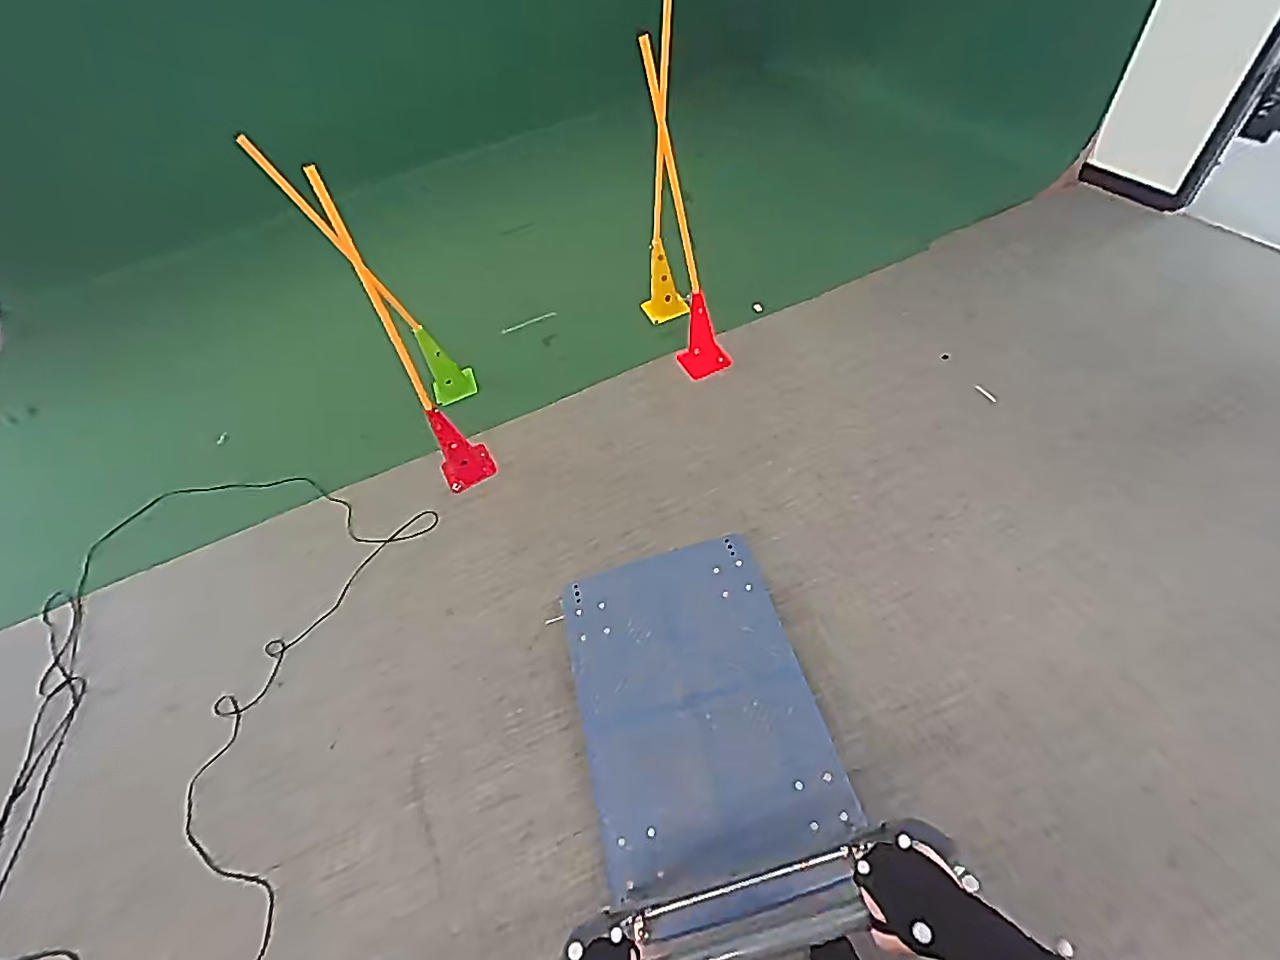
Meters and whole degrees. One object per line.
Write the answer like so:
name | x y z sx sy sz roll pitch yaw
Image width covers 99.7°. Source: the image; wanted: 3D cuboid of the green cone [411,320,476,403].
green cone | -0.921 -0.562 2.446 0.200 0.368 0.202 -24 51 -6

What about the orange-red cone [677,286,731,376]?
orange-red cone | 0.252 -0.647 2.264 0.198 0.360 0.199 -23 50 -7
